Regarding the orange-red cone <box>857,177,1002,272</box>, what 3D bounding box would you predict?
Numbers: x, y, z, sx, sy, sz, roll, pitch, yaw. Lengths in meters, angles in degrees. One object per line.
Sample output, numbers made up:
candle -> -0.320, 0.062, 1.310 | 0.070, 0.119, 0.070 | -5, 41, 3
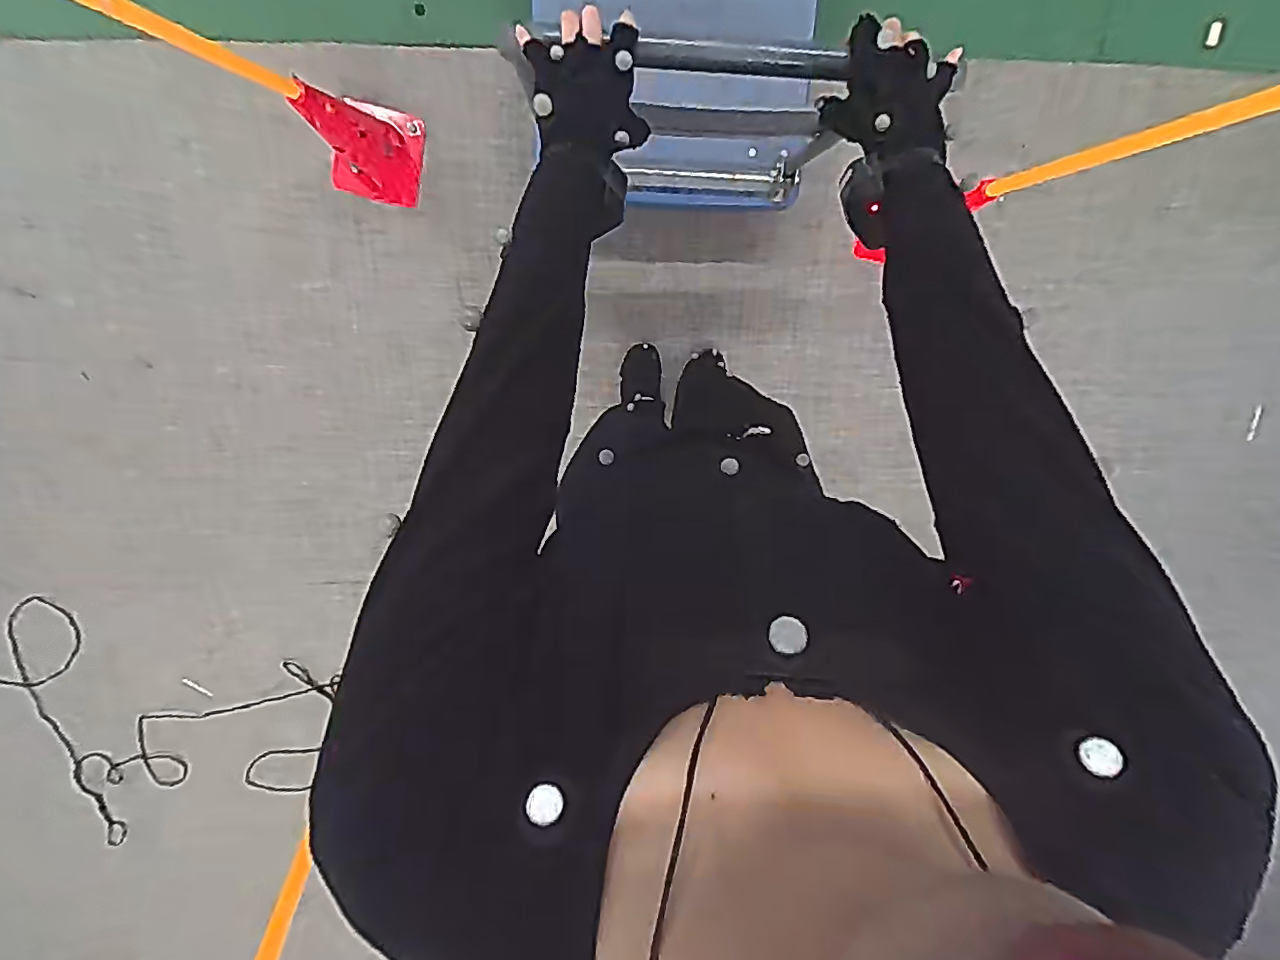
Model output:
orange-red cone -> 0.673, -0.602, 1.210 | 0.198, 0.360, 0.199 | 10, 105, -5
